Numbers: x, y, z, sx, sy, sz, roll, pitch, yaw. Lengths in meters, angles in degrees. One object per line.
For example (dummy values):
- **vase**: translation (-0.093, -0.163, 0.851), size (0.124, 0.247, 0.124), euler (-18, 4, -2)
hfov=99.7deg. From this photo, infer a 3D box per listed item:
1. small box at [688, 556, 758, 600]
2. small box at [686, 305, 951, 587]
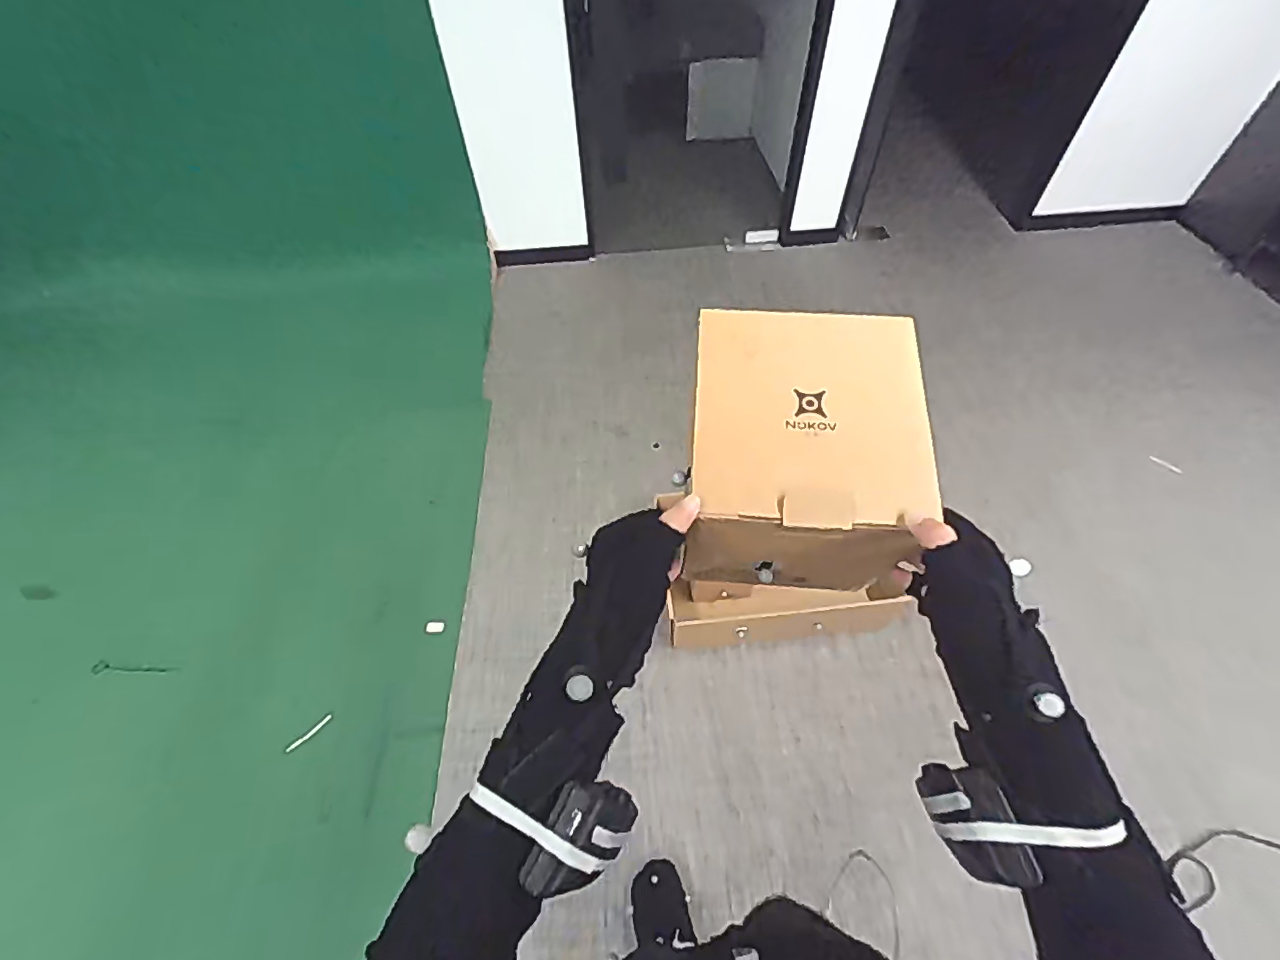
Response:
- **small box**: translation (0.223, 0.208, 1.476), size (0.168, 0.176, 0.179), euler (-4, 52, -2)
- **small box**: translation (0.127, -0.019, 0.456), size (0.168, 0.176, 0.179), euler (4, 67, 3)
